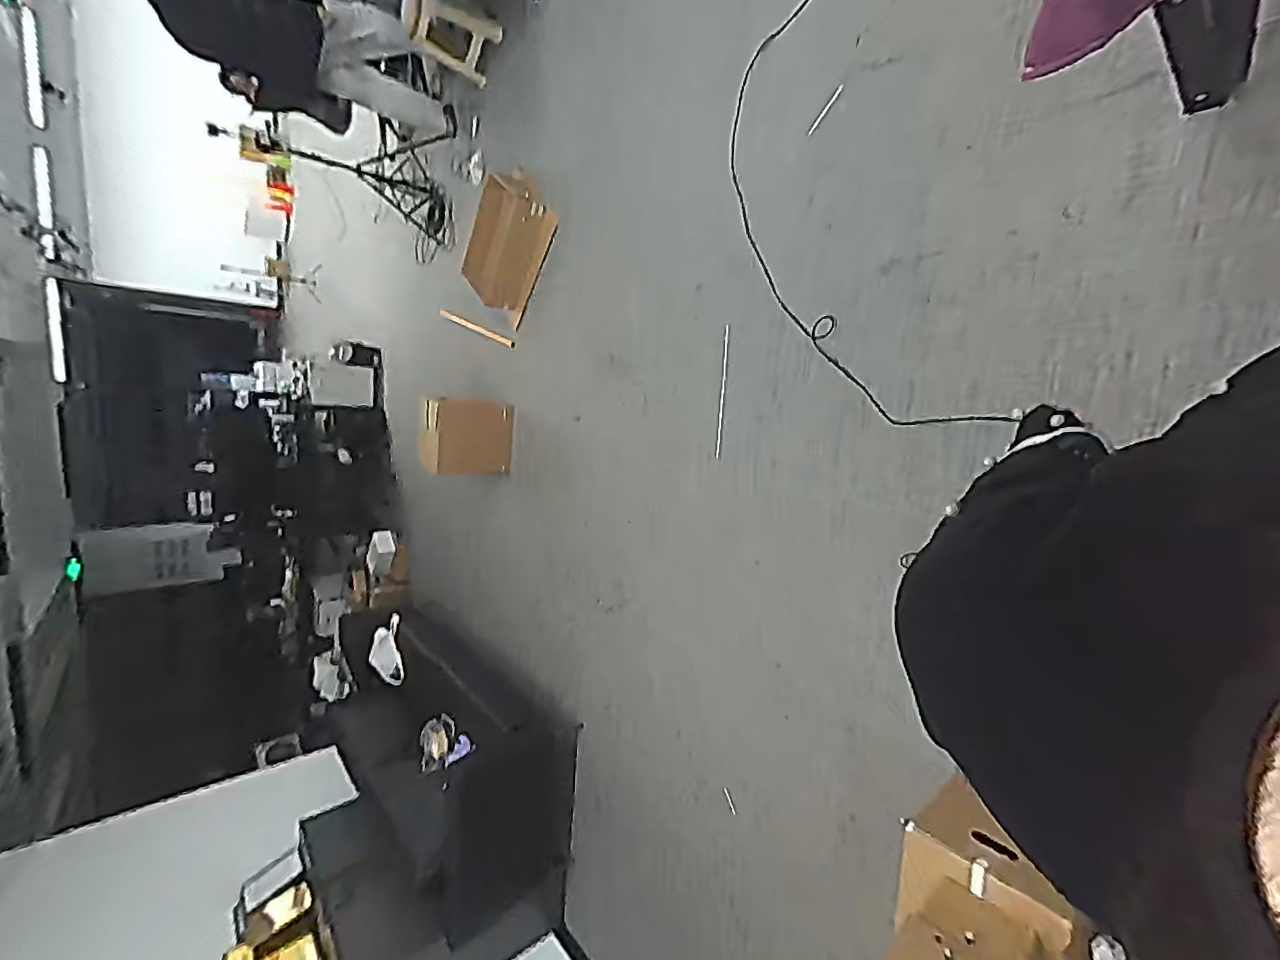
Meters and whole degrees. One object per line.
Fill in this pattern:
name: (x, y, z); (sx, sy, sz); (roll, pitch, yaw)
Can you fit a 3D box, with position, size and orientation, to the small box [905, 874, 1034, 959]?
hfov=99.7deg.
small box: (0.660, 0.946, 1.088); (0.179, 0.176, 0.168); (9, 100, 47)
